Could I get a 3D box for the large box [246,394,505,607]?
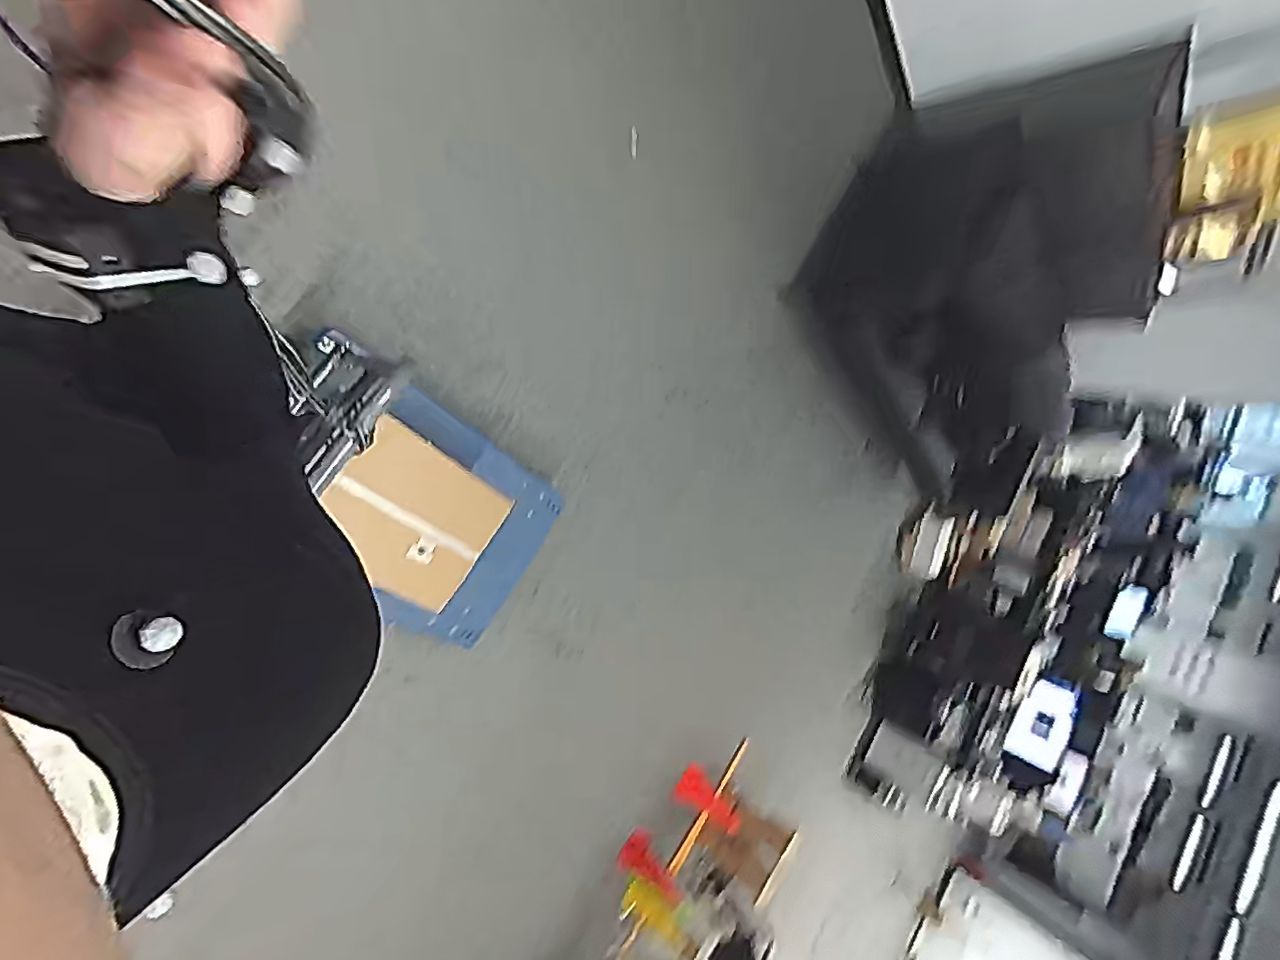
[{"bbox_3d":[-0.619,0.045,1.288,0.320,0.320,0.408,-57,133,-13],"label":"large box"}]
